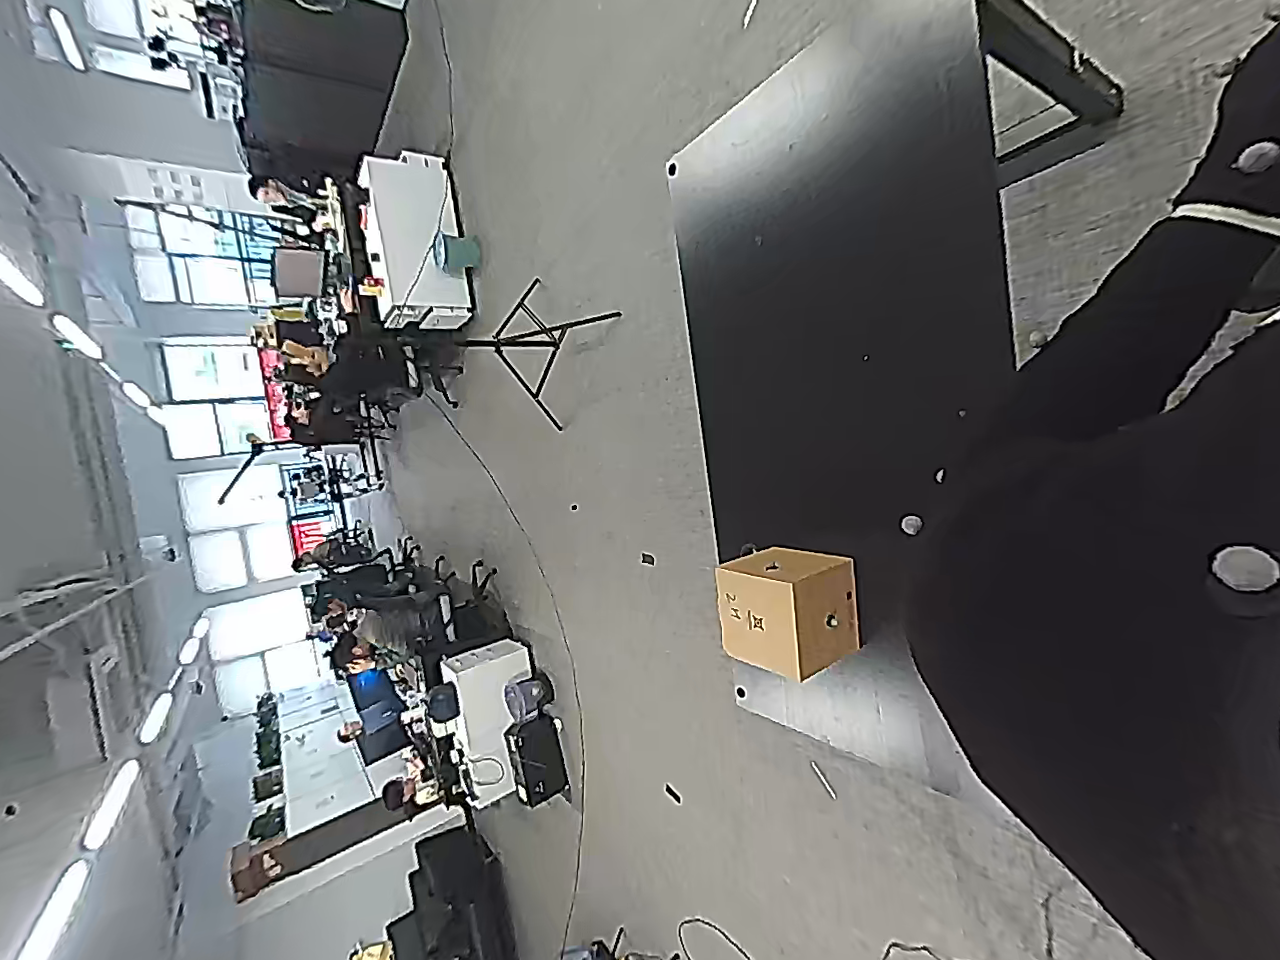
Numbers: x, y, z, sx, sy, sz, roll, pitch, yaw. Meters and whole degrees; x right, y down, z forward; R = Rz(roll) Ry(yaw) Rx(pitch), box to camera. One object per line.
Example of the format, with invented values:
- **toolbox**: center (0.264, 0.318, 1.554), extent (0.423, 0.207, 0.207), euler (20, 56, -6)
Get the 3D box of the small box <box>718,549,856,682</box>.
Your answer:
- **small box**: center (0.263, 0.226, 0.956), extent (0.179, 0.176, 0.168), euler (2, 99, 55)
